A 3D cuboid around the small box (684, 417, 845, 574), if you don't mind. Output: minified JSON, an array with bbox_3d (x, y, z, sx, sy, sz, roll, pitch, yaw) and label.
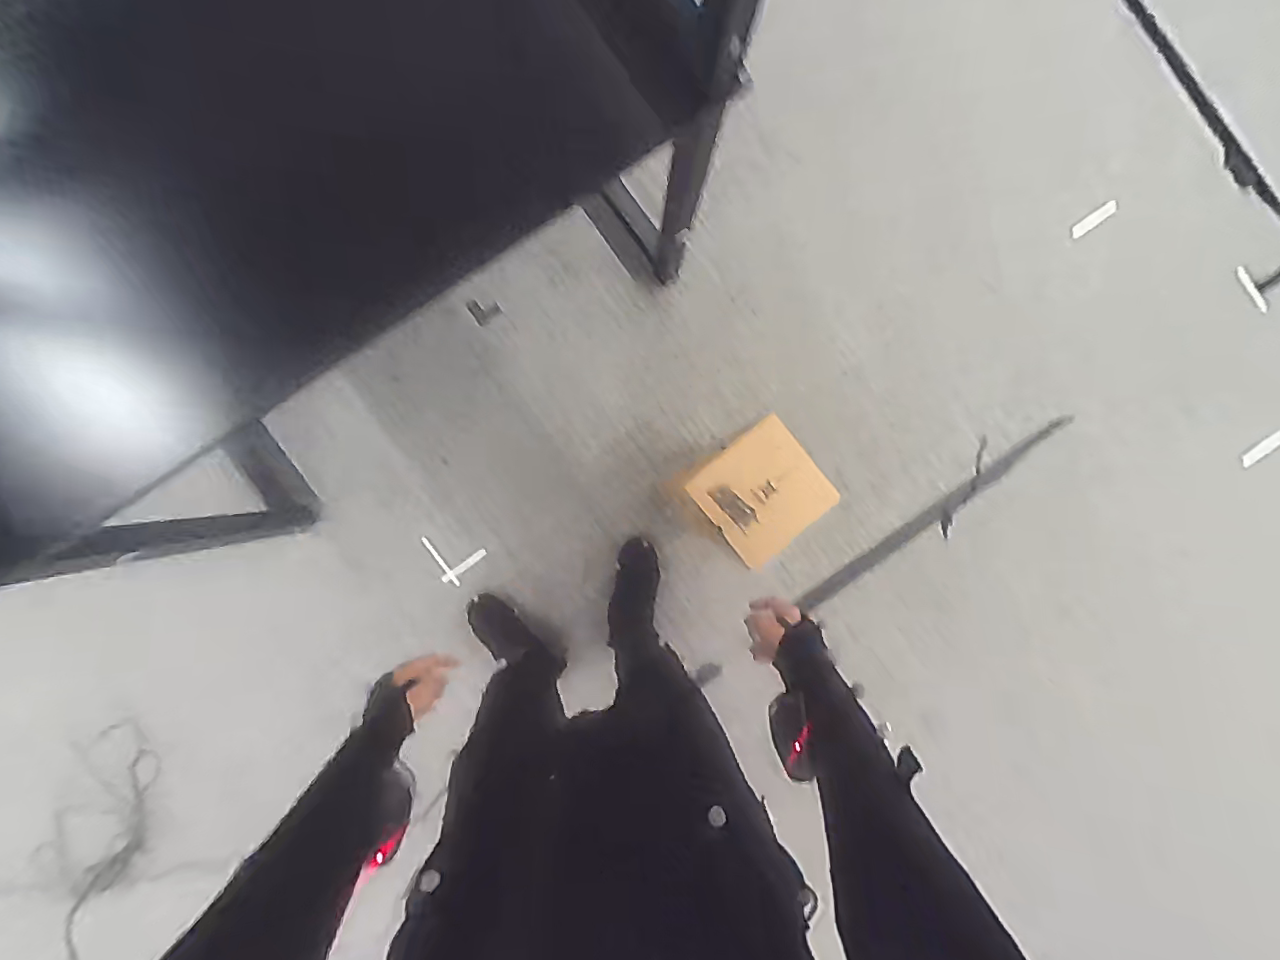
[{"bbox_3d":[0.184,0.024,0.867,0.179,0.176,0.168,-39,91,-2],"label":"small box"}]

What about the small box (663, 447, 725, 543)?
[{"bbox_3d":[0.172,0.036,1.358,0.179,0.176,0.168,-37,91,-1],"label":"small box"}]
